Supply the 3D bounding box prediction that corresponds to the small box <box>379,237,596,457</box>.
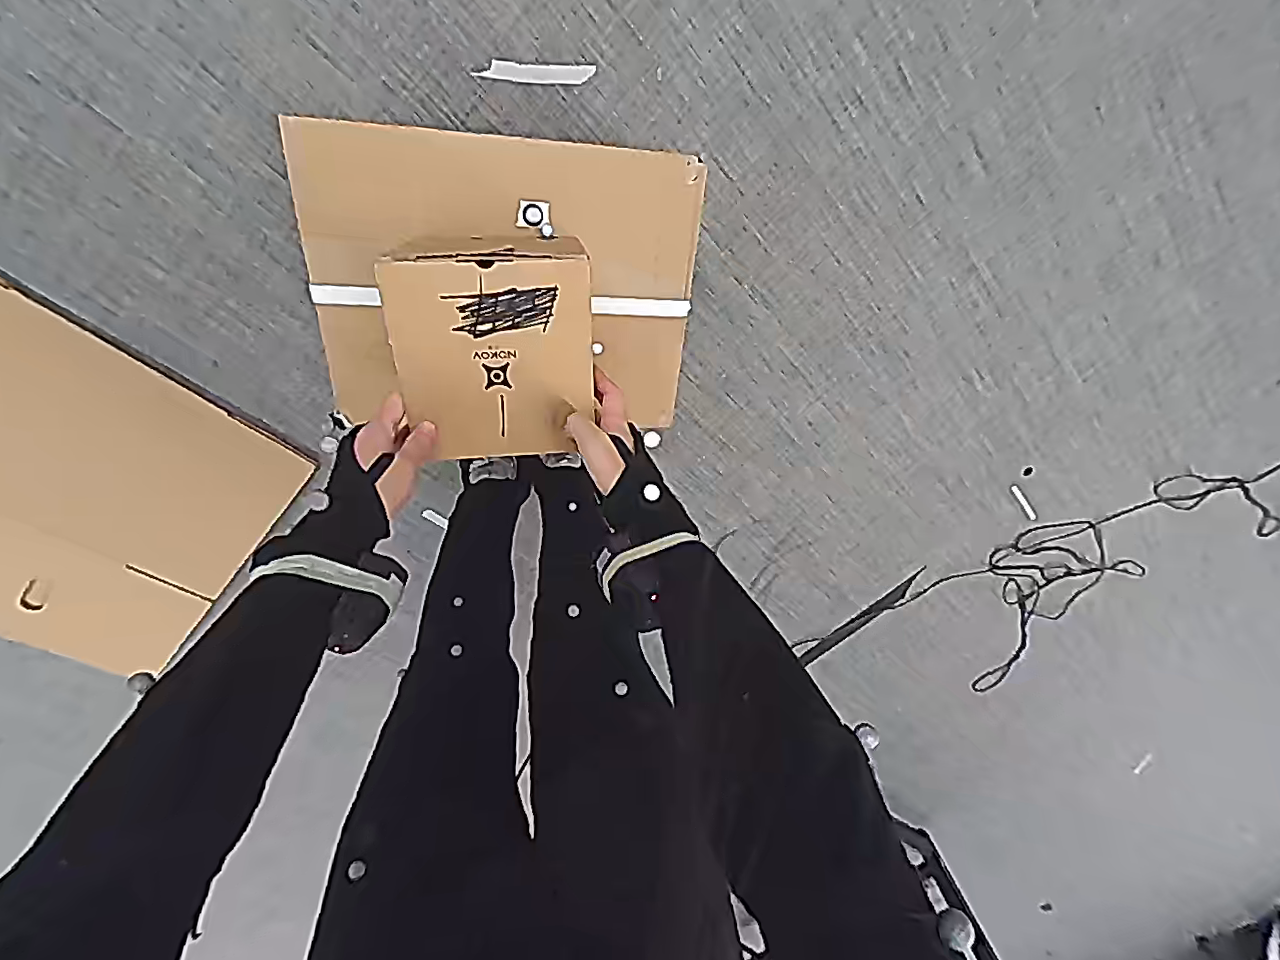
[{"bbox_3d":[-0.135,-0.140,0.532,0.168,0.176,0.179,-4,120,-8],"label":"small box"}]
